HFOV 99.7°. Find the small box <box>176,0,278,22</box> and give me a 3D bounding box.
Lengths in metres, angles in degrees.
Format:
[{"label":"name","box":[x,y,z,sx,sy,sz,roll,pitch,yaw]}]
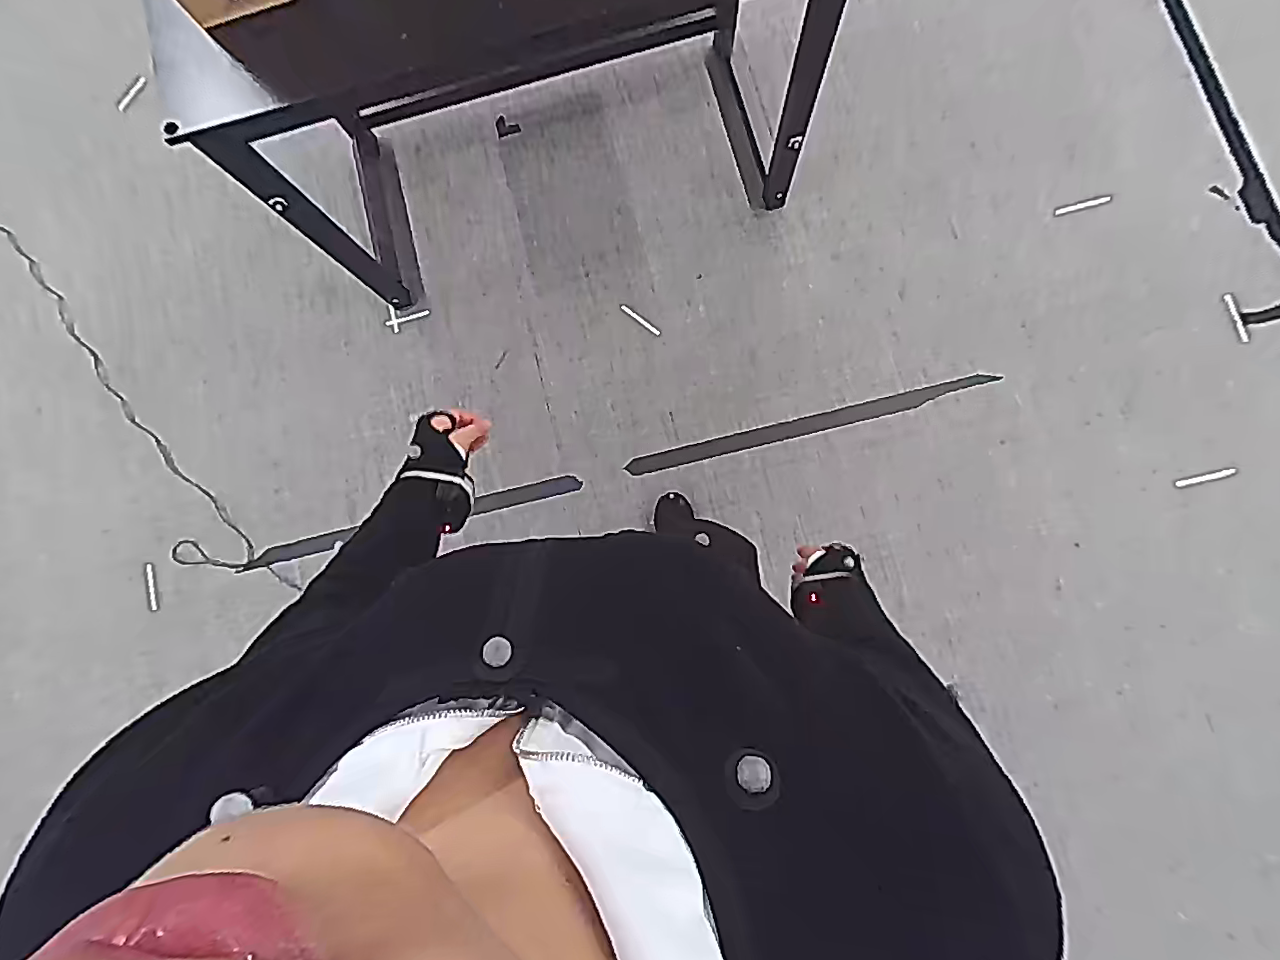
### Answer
[{"label":"small box","box":[-0.685,-0.872,0.836,0.179,0.176,0.168,-16,83,1]}]
